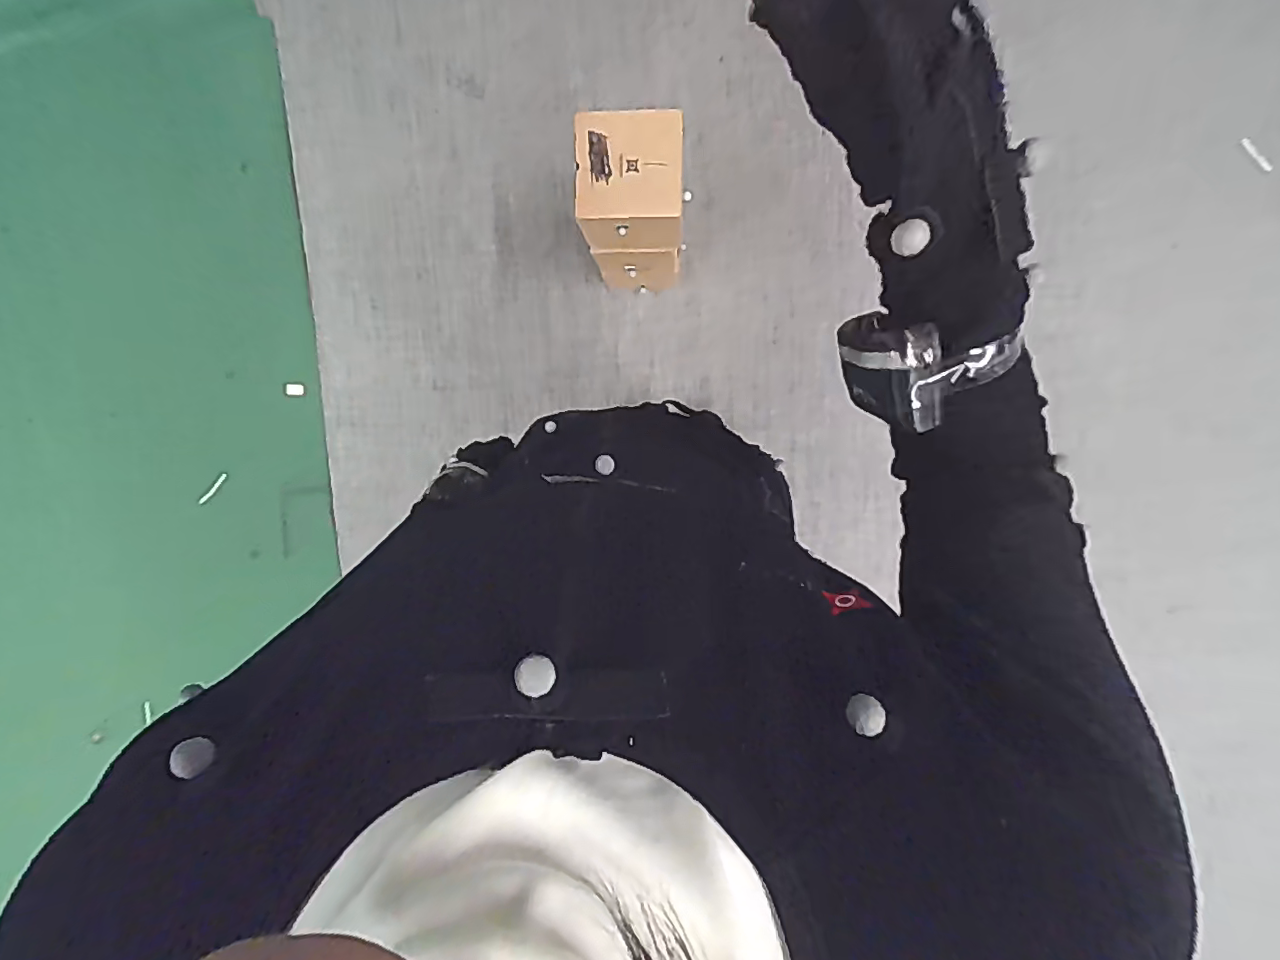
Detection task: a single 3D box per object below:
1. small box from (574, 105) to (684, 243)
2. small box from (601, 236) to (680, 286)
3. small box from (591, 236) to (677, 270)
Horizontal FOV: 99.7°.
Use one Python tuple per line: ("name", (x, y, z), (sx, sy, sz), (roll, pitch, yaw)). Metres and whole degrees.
("small box", (-0.013, -0.527, 0.954), (0.179, 0.176, 0.168), (1, 97, 5))
("small box", (0.006, -0.562, 1.279), (0.179, 0.176, 0.168), (2, 97, 4))
("small box", (-0.007, -0.547, 1.118), (0.168, 0.176, 0.179), (1, 98, 6))
